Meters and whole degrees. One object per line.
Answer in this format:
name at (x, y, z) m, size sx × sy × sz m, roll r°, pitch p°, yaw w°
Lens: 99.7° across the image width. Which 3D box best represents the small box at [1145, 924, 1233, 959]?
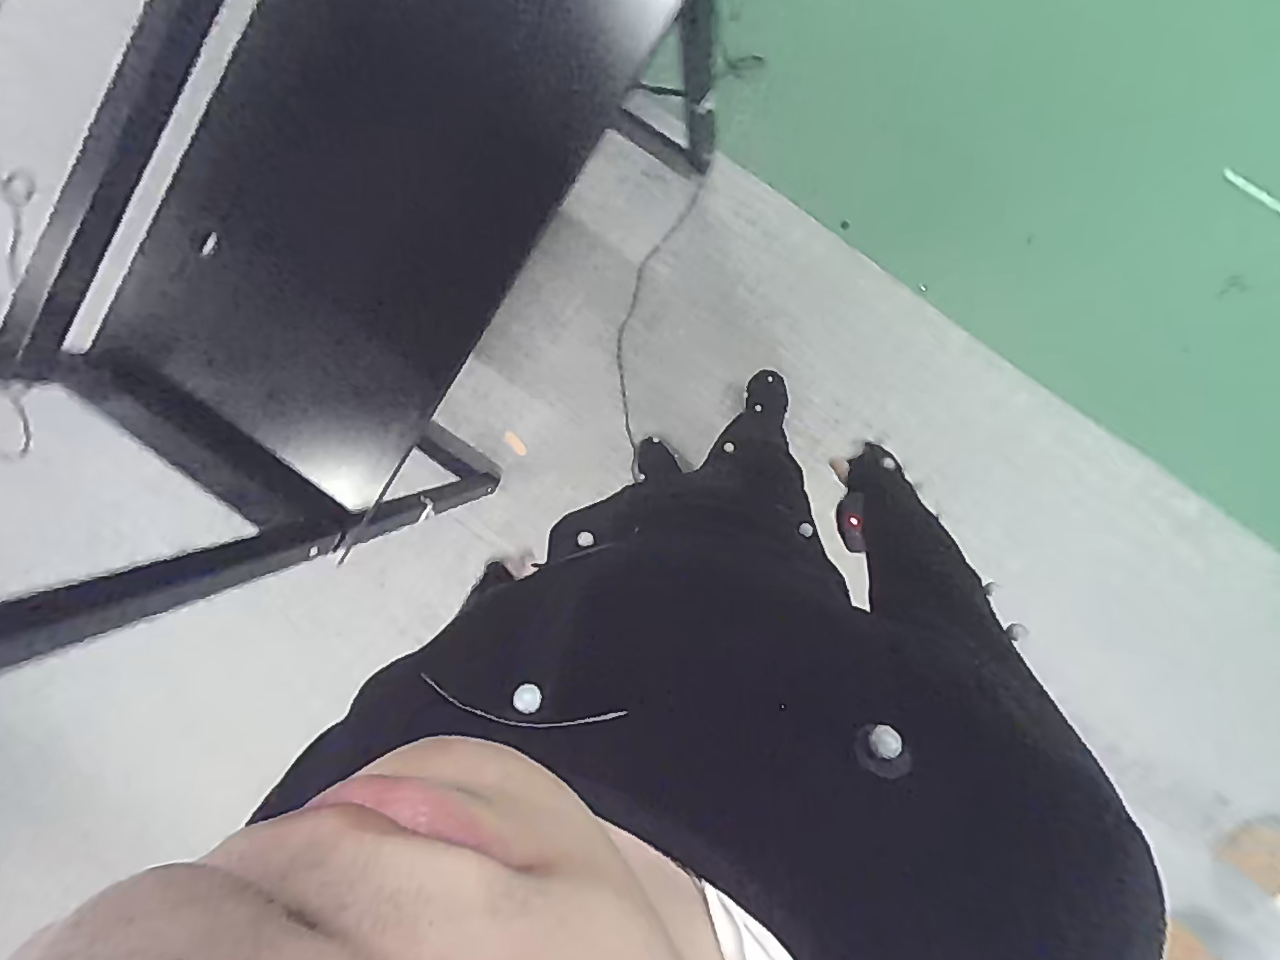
small box at (1.577, 1.396, 1.495) m, size 0.168 × 0.176 × 0.179 m, roll 37°, pitch 100°, yaw 2°
